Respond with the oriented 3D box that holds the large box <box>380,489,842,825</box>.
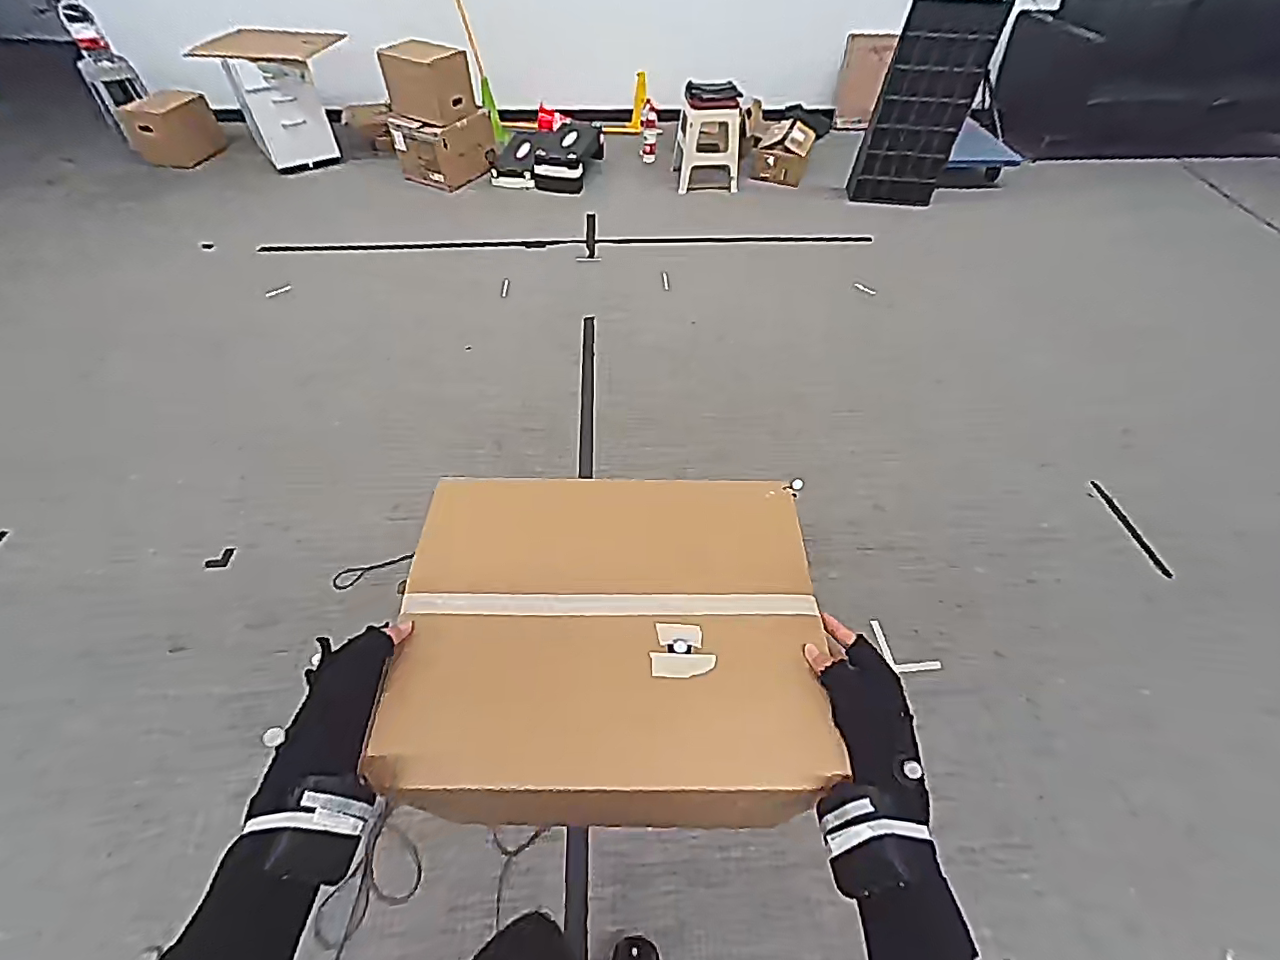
[{"bbox_3d":[-0.028,0.225,0.664,0.408,0.320,0.320,1,54,-1],"label":"large box"}]
